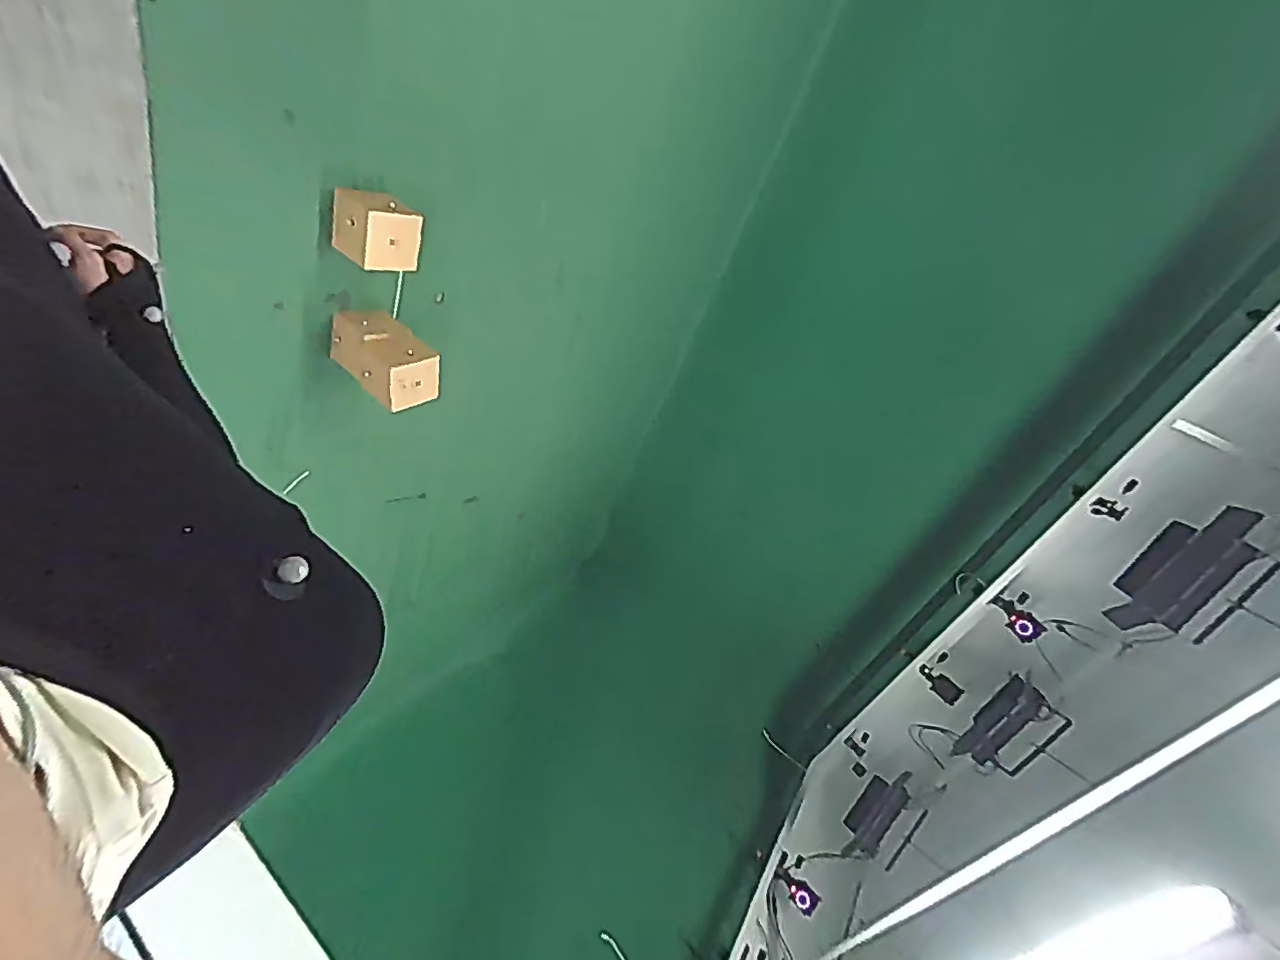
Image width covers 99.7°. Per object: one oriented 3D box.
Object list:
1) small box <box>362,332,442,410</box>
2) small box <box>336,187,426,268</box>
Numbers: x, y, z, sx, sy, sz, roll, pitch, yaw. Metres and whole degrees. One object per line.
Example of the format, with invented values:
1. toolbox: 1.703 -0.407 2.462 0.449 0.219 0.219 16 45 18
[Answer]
1. small box: -0.768 -0.360 1.747 0.179 0.176 0.168 -33 152 -44
2. small box: -0.766 -0.741 1.592 0.179 0.176 0.168 -29 149 -52
